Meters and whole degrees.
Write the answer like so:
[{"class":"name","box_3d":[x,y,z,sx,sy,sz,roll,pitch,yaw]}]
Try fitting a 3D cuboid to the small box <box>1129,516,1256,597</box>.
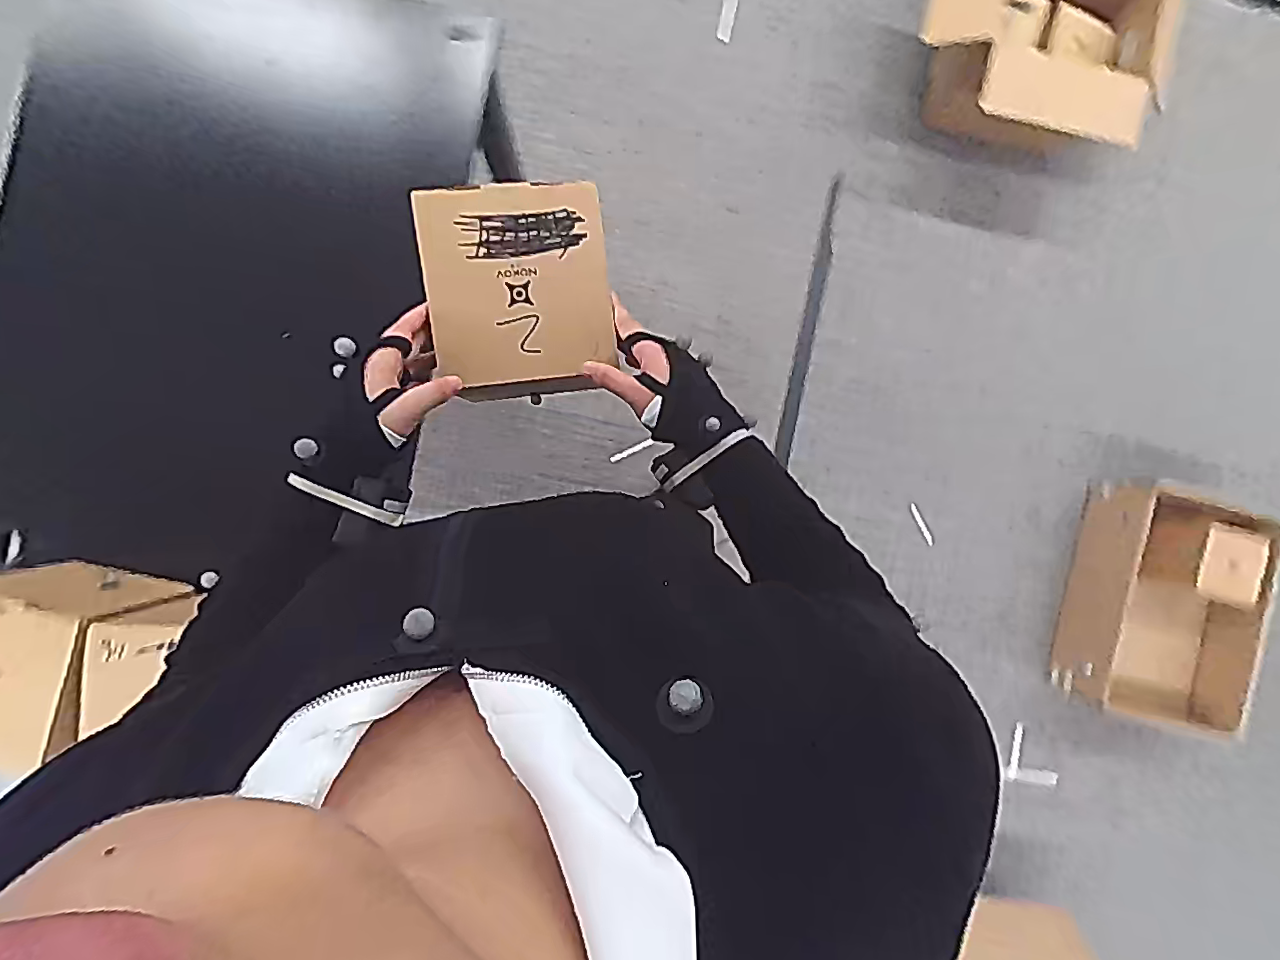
[{"class":"small box","box_3d":[1.514,0.204,1.494,0.168,0.176,0.179,15,90,-1]}]
